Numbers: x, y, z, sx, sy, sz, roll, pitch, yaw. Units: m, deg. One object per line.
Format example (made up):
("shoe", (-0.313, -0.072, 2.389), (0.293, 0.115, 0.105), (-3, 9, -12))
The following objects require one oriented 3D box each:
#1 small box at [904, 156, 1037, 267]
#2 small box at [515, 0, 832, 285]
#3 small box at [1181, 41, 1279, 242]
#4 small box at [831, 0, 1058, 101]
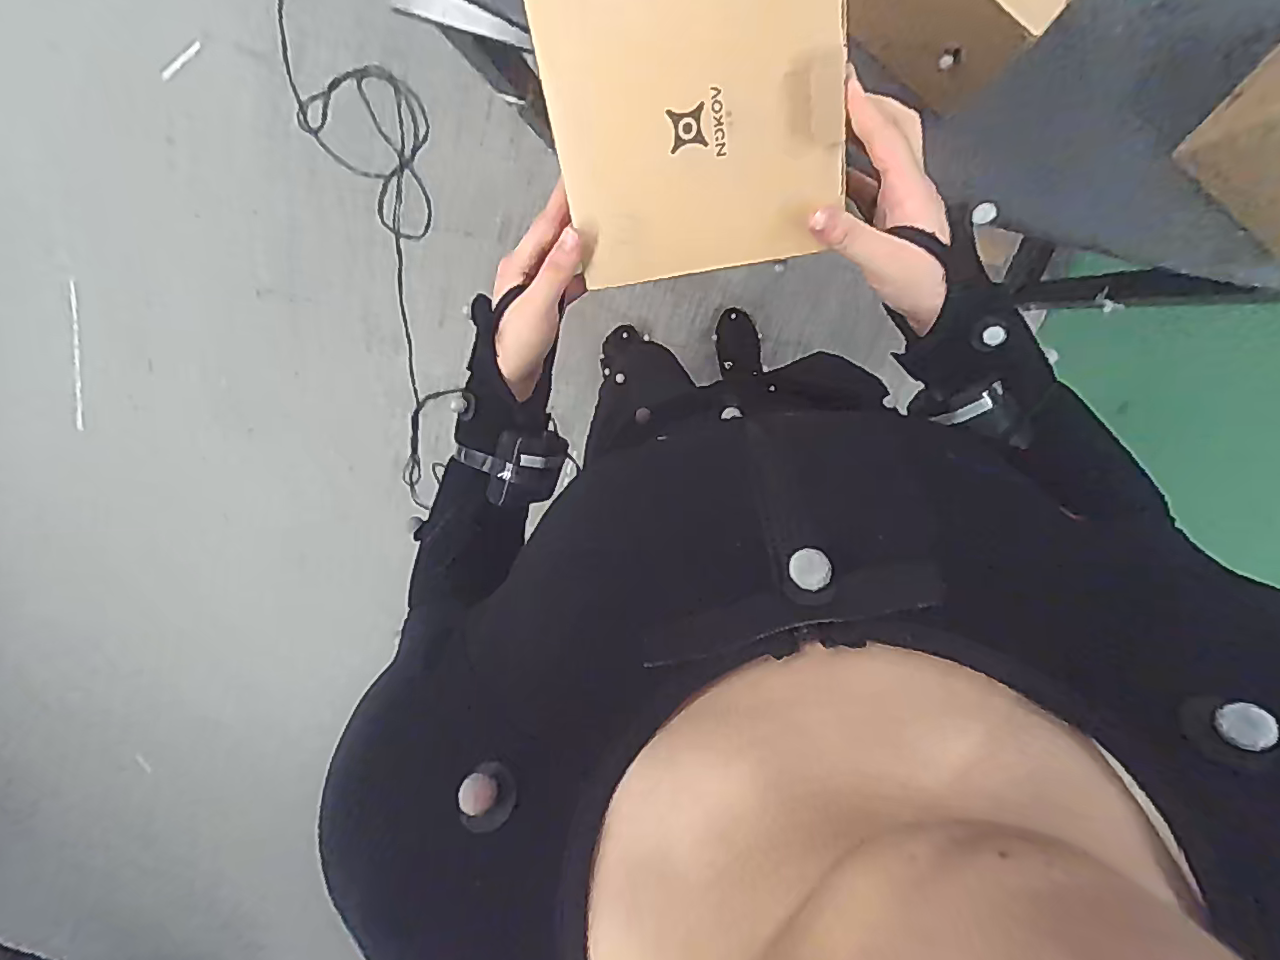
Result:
("small box", (0.702, -0.572, 1.176), (0.168, 0.176, 0.179), (13, 108, 3))
("small box", (0.036, -0.251, 0.394), (0.179, 0.176, 0.168), (-5, 119, 11))
("small box", (0.667, -0.339, 0.481), (0.179, 0.176, 0.168), (38, 105, -4))
("small box", (0.300, -0.489, 0.488), (0.179, 0.176, 0.168), (37, 104, -3))
